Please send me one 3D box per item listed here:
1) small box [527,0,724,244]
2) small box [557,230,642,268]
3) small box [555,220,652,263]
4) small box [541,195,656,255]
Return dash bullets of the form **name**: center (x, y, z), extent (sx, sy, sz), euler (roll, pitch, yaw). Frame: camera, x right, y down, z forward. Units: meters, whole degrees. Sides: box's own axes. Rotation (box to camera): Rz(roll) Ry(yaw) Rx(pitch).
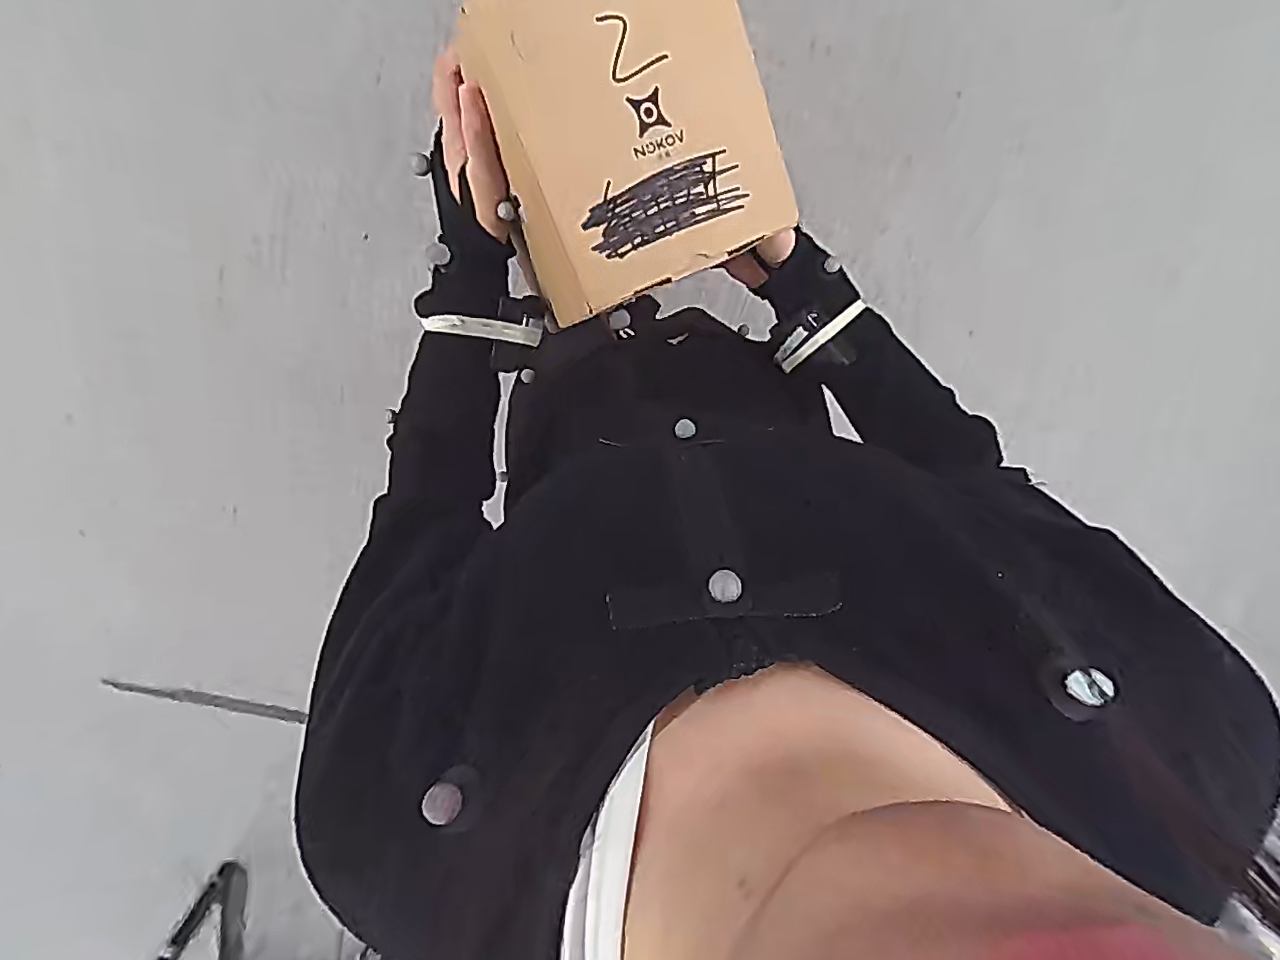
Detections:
- **small box**: center (-0.020, -0.389, 0.621), extent (0.168, 0.176, 0.179), euler (14, 108, -6)
- **small box**: center (-0.054, -0.537, 1.087), extent (0.179, 0.176, 0.168), euler (17, 107, -8)
- **small box**: center (-0.036, -0.487, 0.932), extent (0.168, 0.176, 0.179), euler (17, 107, -8)
- **small box**: center (-0.031, -0.439, 0.774), extent (0.168, 0.176, 0.179), euler (16, 106, -8)
